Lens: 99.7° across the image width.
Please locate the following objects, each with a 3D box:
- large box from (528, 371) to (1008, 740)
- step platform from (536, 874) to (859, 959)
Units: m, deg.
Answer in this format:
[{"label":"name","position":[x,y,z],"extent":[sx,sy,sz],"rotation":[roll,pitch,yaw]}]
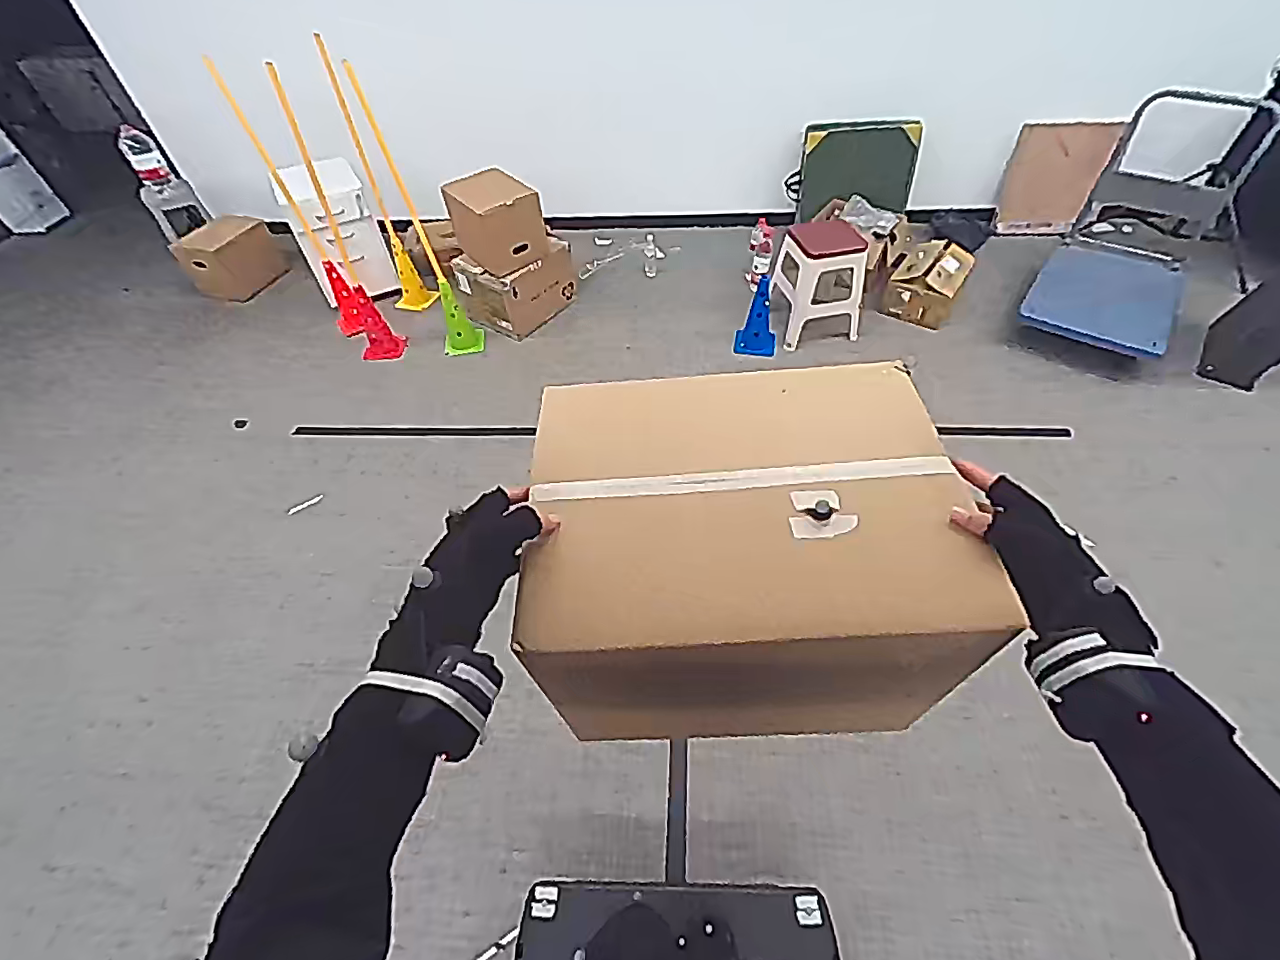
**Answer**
[{"label":"large box","position":[0.106,0.100,0.649],"extent":[0.408,0.320,0.320],"rotation":[-4,52,2]},{"label":"step platform","position":[0.119,1.035,1.172],"extent":[0.684,0.204,0.286],"rotation":[-1,50,2]}]
